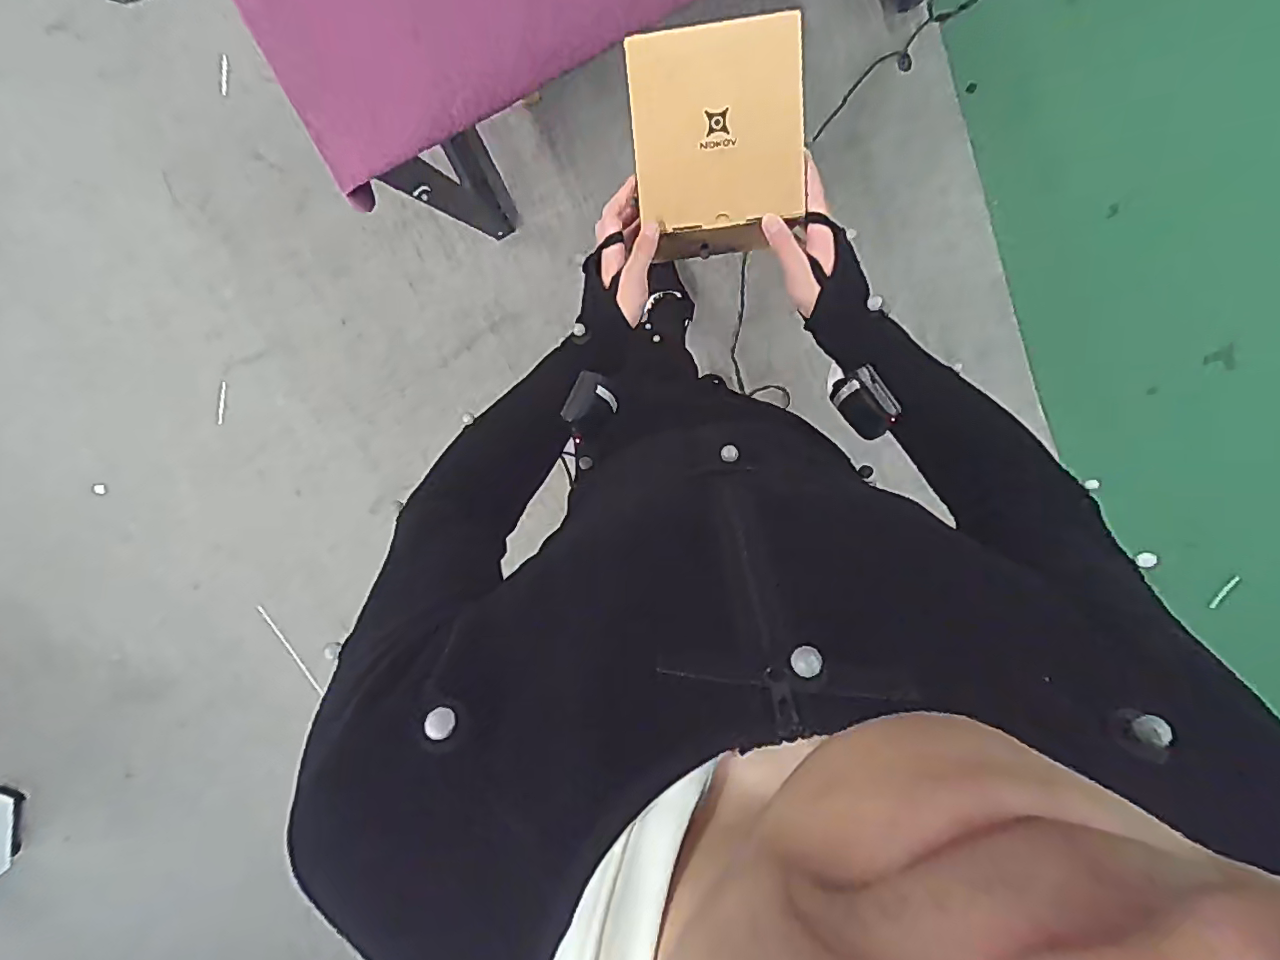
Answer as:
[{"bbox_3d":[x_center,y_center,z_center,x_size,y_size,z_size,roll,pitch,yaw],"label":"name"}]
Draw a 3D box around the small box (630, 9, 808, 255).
[{"bbox_3d":[0.082,-0.361,0.598,0.168,0.176,0.179,-5,104,5],"label":"small box"}]
